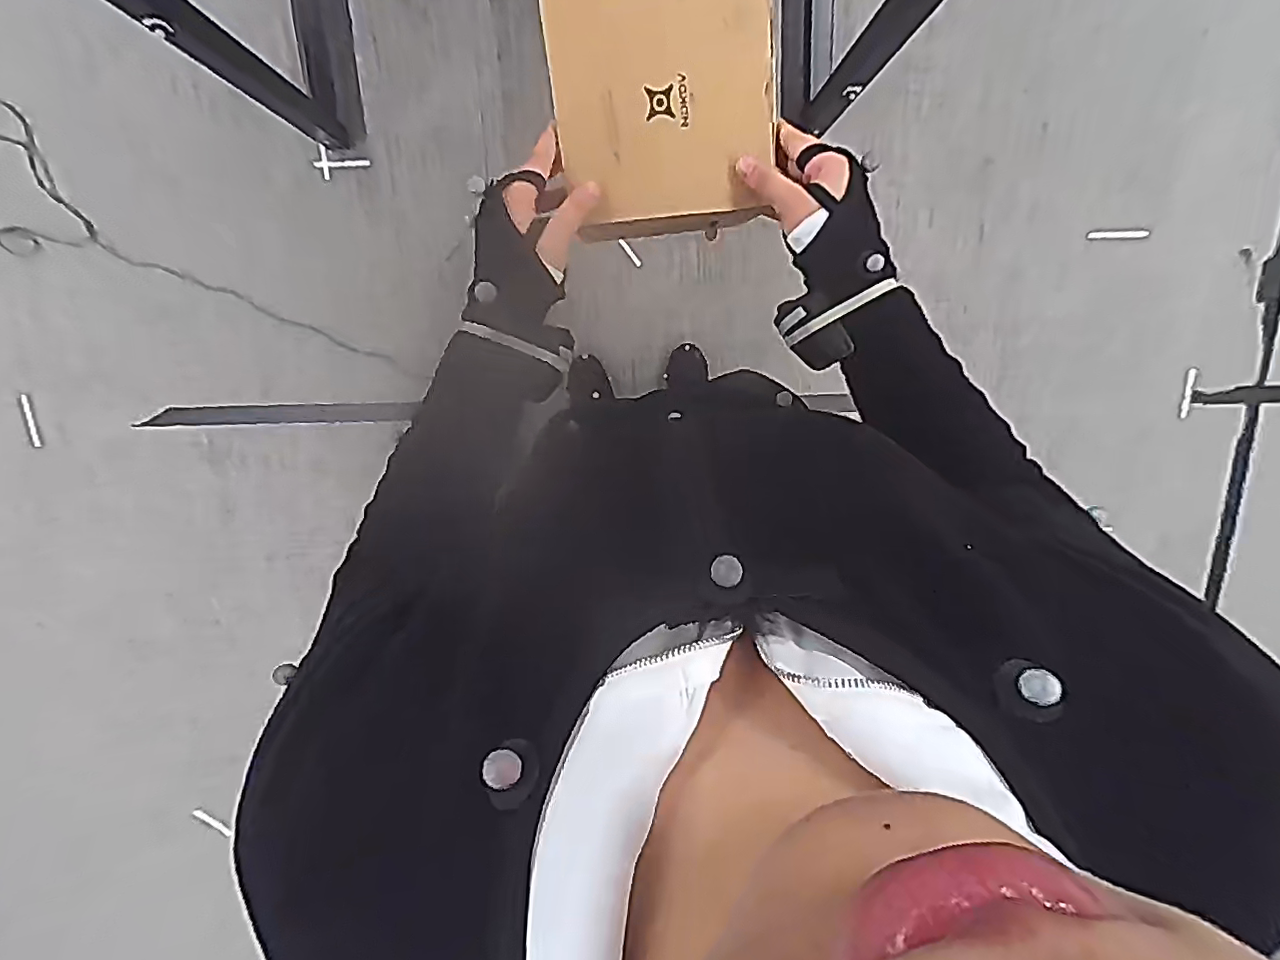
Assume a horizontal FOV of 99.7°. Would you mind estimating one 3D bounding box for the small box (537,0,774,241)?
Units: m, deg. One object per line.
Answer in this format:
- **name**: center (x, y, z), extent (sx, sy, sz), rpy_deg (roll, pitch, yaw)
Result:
- **small box**: center (0.014, -0.324, 0.496), extent (0.179, 0.176, 0.168), rpy_deg (-7, 108, 1)
